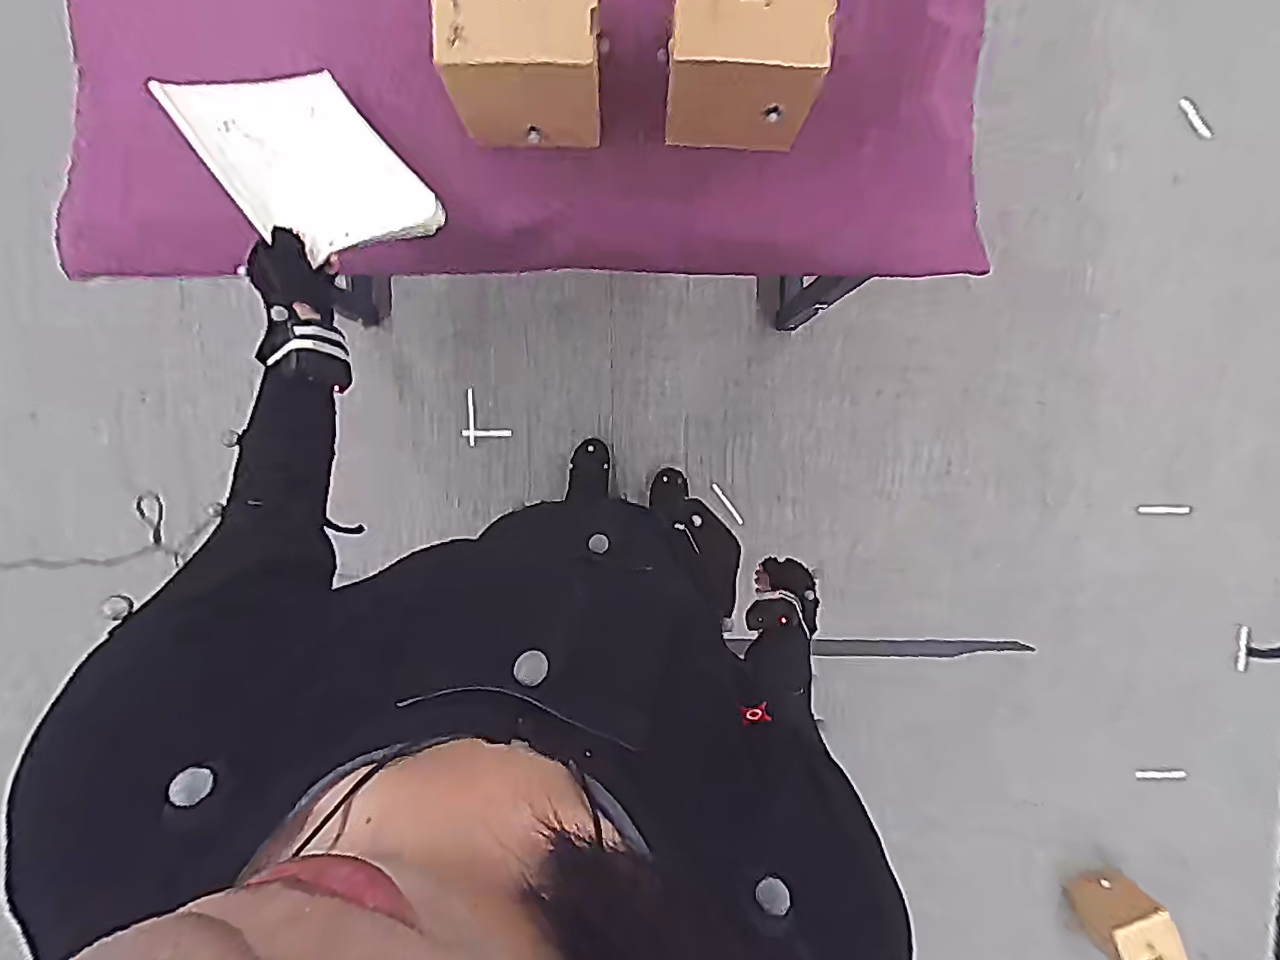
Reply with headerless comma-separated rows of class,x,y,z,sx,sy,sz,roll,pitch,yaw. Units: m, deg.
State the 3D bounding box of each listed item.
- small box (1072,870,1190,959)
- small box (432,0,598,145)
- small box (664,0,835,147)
small box,1.398,1.279,1.545,0.168,0.176,0.179,-23,93,0
small box,-0.140,-0.537,0.658,0.179,0.176,0.168,-1,93,-2
small box,0.126,-0.540,0.666,0.179,0.176,0.168,3,92,0
